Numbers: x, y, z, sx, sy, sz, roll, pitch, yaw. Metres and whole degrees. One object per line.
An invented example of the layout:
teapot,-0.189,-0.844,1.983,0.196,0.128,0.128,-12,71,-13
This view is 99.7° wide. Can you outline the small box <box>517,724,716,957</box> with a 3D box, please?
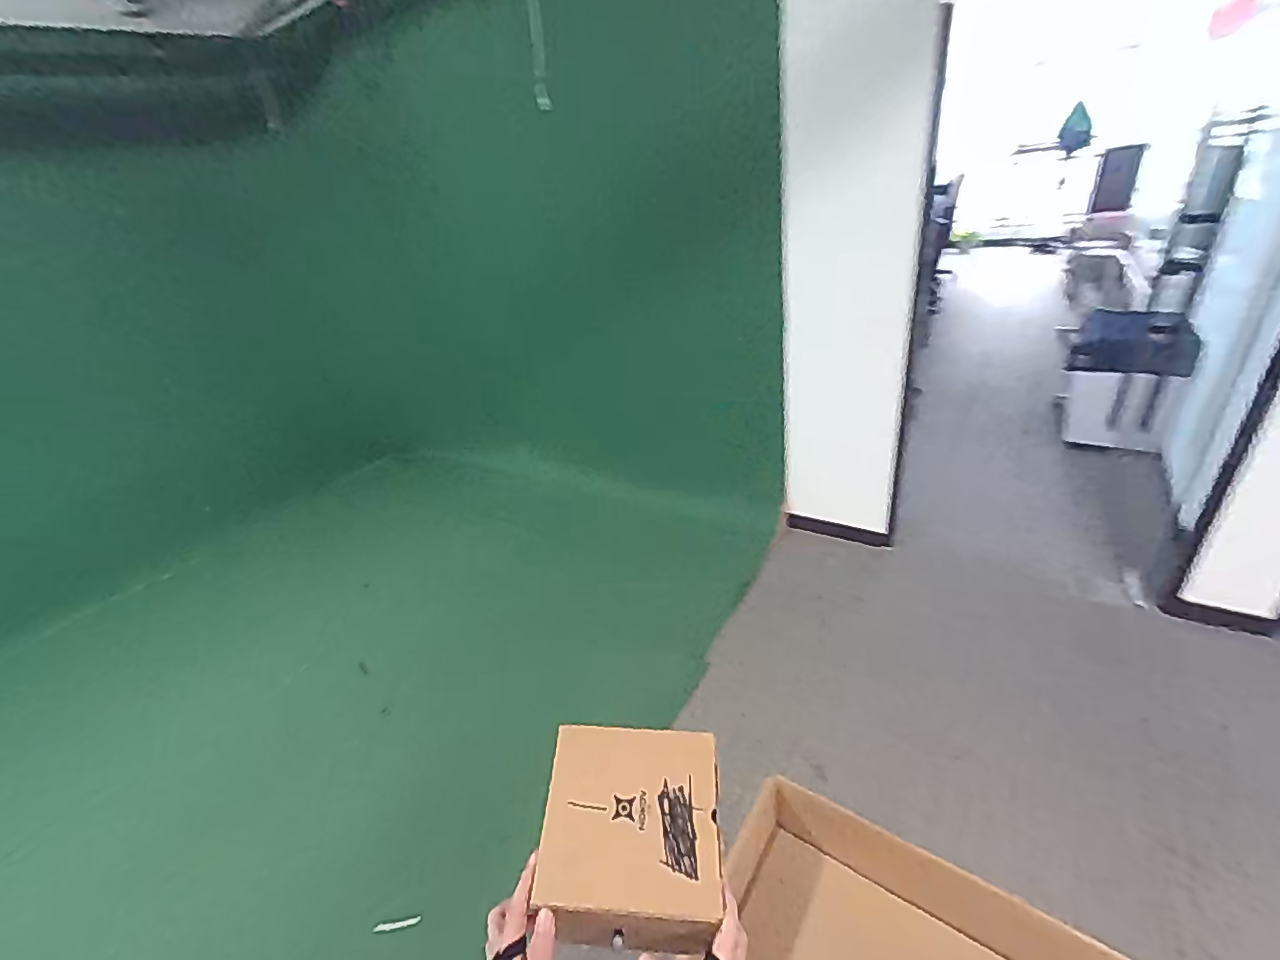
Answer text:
small box,-0.017,0.386,0.580,0.179,0.176,0.168,2,40,3
